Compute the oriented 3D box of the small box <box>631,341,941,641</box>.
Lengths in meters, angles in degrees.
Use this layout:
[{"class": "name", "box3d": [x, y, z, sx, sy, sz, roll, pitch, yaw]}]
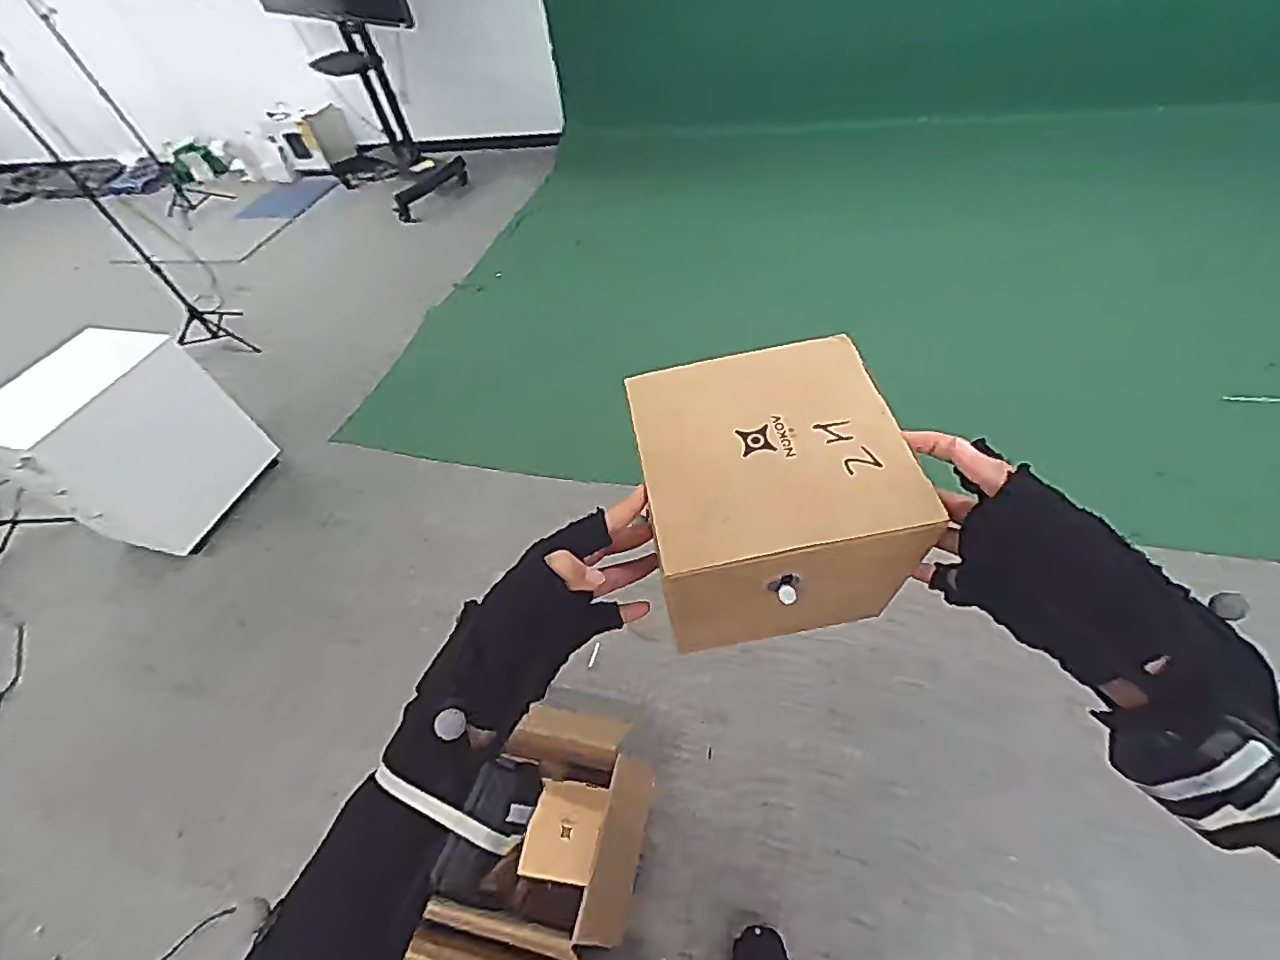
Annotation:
[{"class": "small box", "box3d": [0.098, 0.018, 0.440, 0.179, 0.176, 0.168, -10, 57, 0]}]
